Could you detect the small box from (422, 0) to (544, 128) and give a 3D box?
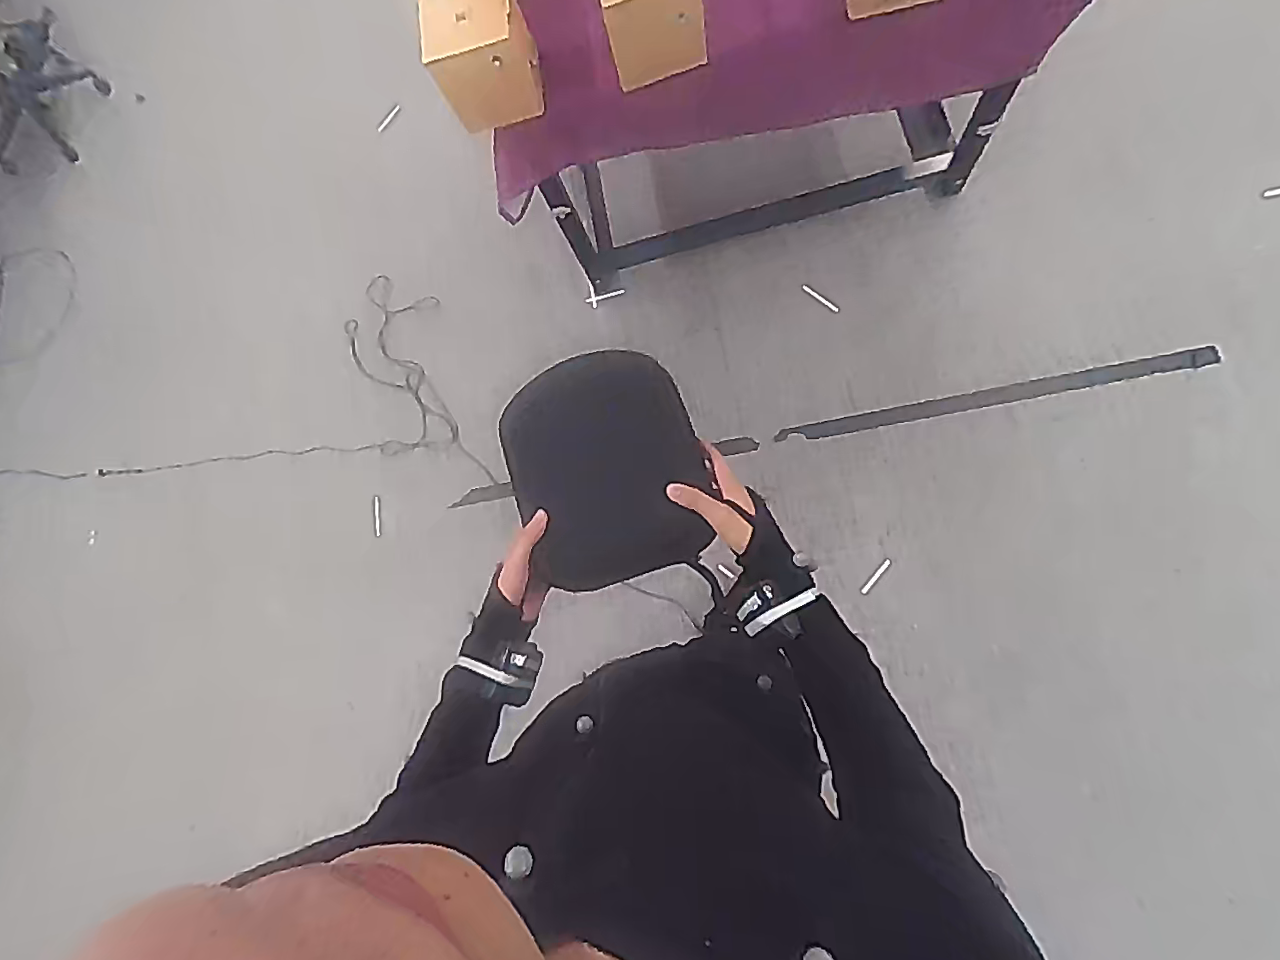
[{"bbox_3d":[-0.305,-0.842,1.070,0.179,0.176,0.168,-9,78,9],"label":"small box"}]

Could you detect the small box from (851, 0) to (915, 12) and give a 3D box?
[{"bbox_3d":[0.455,-0.974,0.933,0.168,0.176,0.179,-5,81,11],"label":"small box"}]
